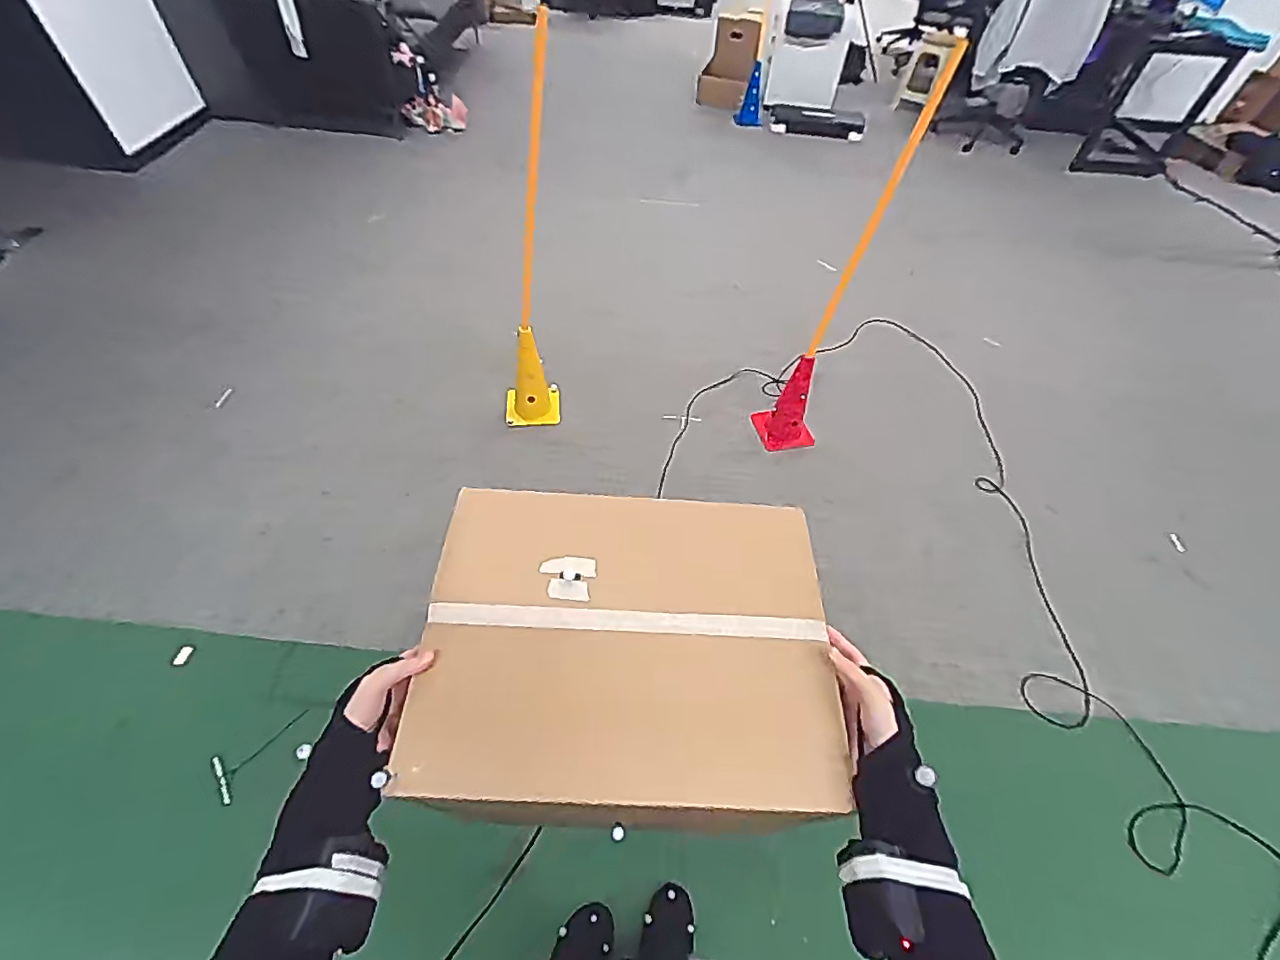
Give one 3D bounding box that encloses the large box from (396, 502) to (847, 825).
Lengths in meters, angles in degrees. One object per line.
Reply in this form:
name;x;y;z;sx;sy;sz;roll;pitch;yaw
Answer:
large box;-0.018;0.243;0.677;0.408;0.320;0.320;3;53;-2
